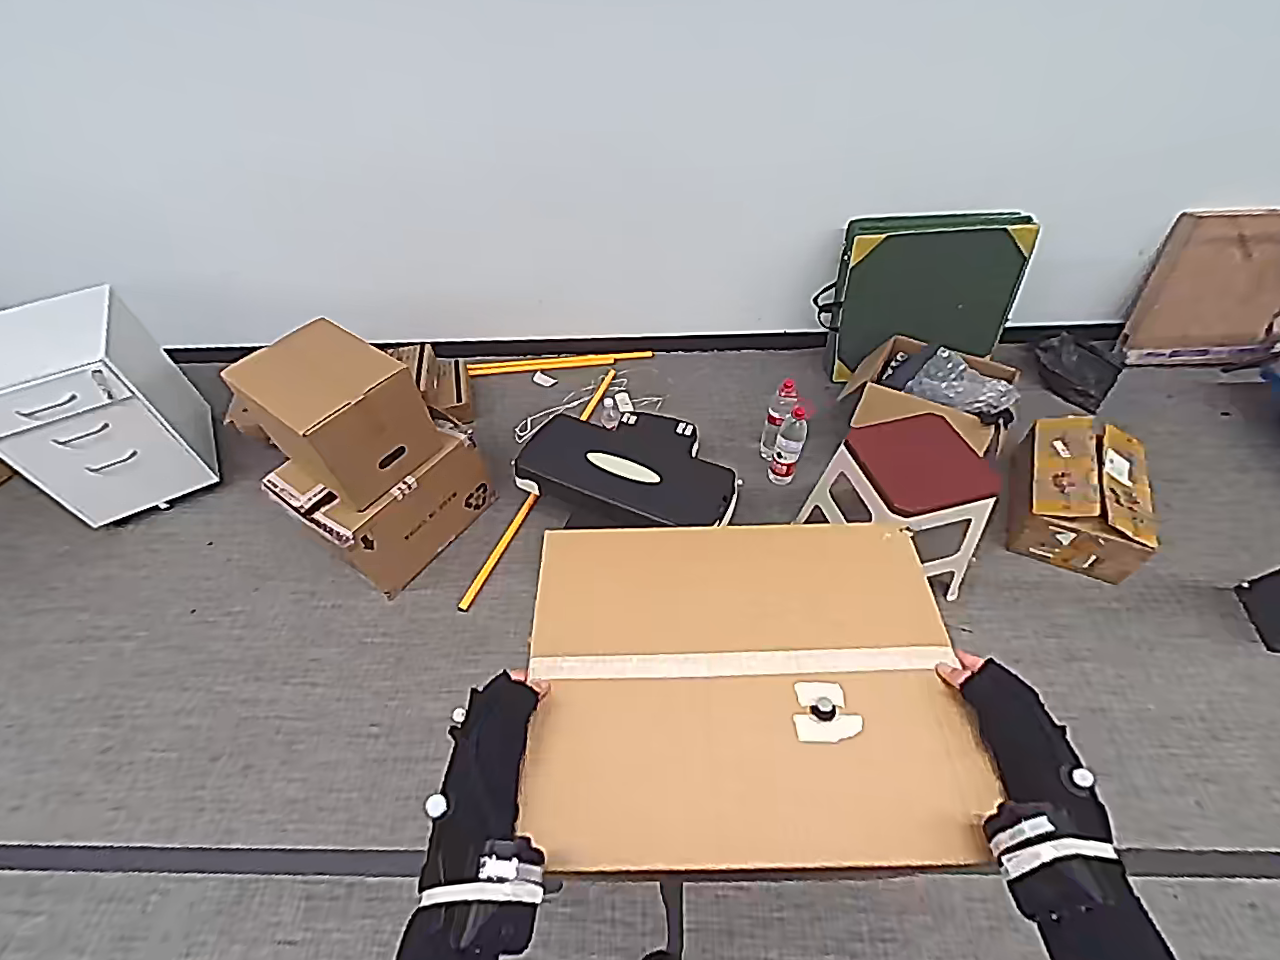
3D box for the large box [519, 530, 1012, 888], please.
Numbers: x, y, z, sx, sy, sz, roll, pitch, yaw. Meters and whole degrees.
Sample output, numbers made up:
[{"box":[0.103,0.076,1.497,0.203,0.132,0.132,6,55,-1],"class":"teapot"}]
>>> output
[{"box":[0.098,0.275,0.635,0.408,0.320,0.320,-1,52,1],"class":"large box"}]
